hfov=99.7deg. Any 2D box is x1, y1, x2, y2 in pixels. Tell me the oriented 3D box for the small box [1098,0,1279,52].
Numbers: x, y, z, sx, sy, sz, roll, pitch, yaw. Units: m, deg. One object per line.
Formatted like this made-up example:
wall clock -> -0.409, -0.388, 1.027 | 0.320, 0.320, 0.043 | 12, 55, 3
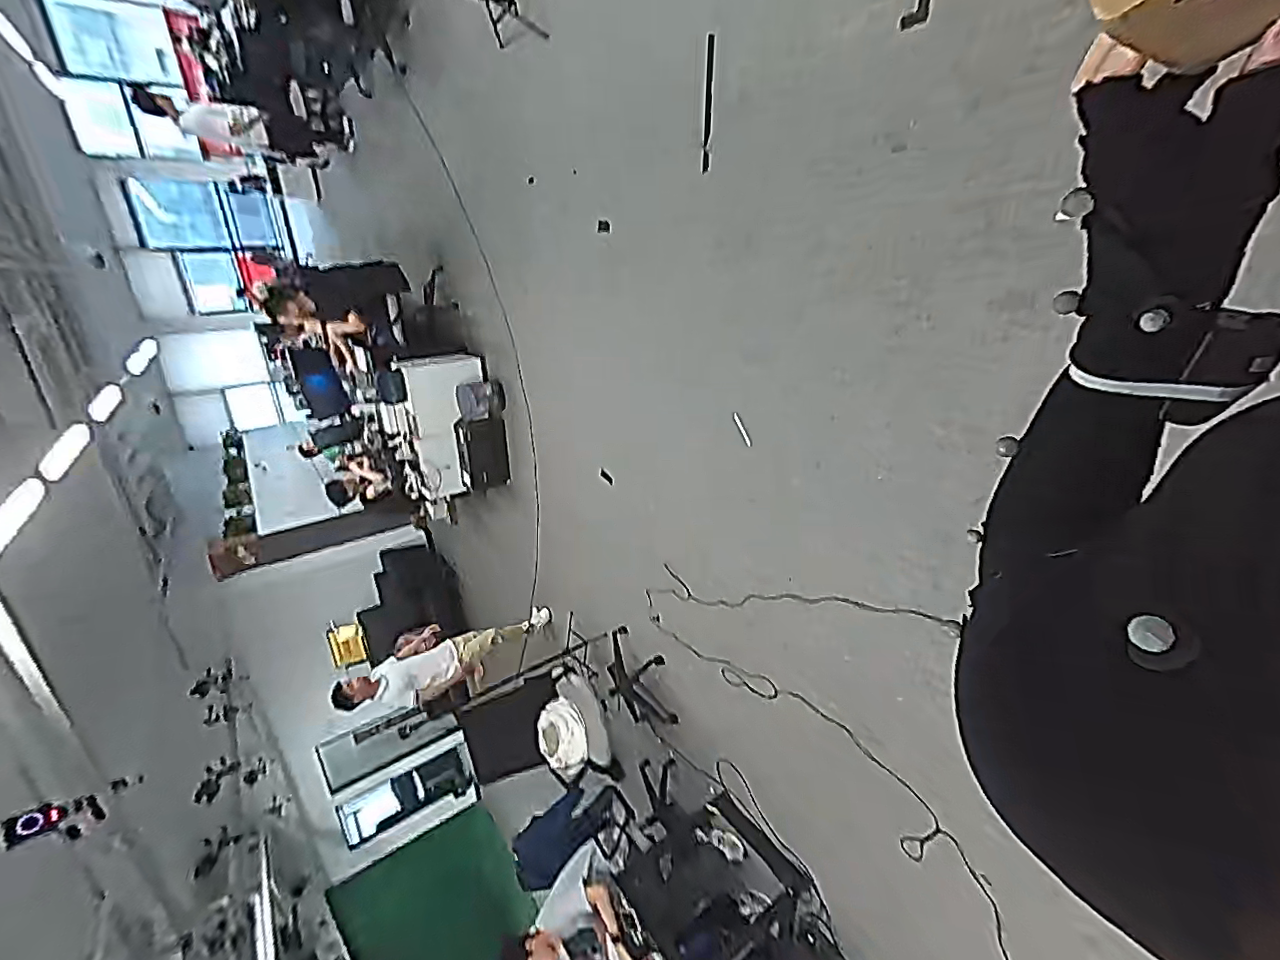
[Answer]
small box -> 0.232, -0.268, 0.148 | 0.168, 0.179, 0.176 | -8, 103, 54
